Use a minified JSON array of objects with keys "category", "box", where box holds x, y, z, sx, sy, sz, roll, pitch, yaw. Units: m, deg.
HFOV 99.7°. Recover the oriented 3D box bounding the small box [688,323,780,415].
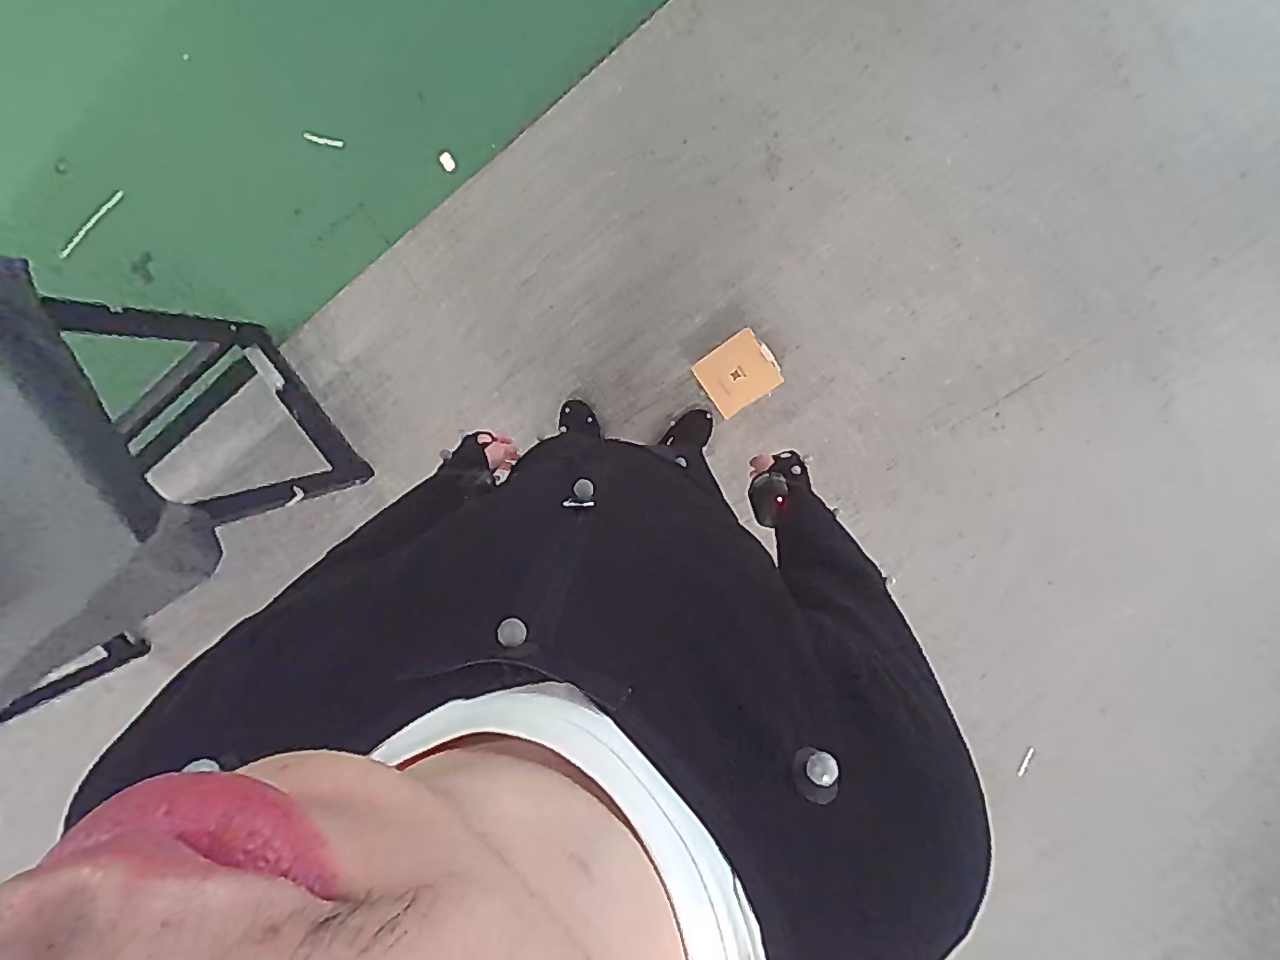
[{"category":"small box","box":[0.239,-0.285,1.410,0.179,0.176,0.168,-32,93,12]}]
